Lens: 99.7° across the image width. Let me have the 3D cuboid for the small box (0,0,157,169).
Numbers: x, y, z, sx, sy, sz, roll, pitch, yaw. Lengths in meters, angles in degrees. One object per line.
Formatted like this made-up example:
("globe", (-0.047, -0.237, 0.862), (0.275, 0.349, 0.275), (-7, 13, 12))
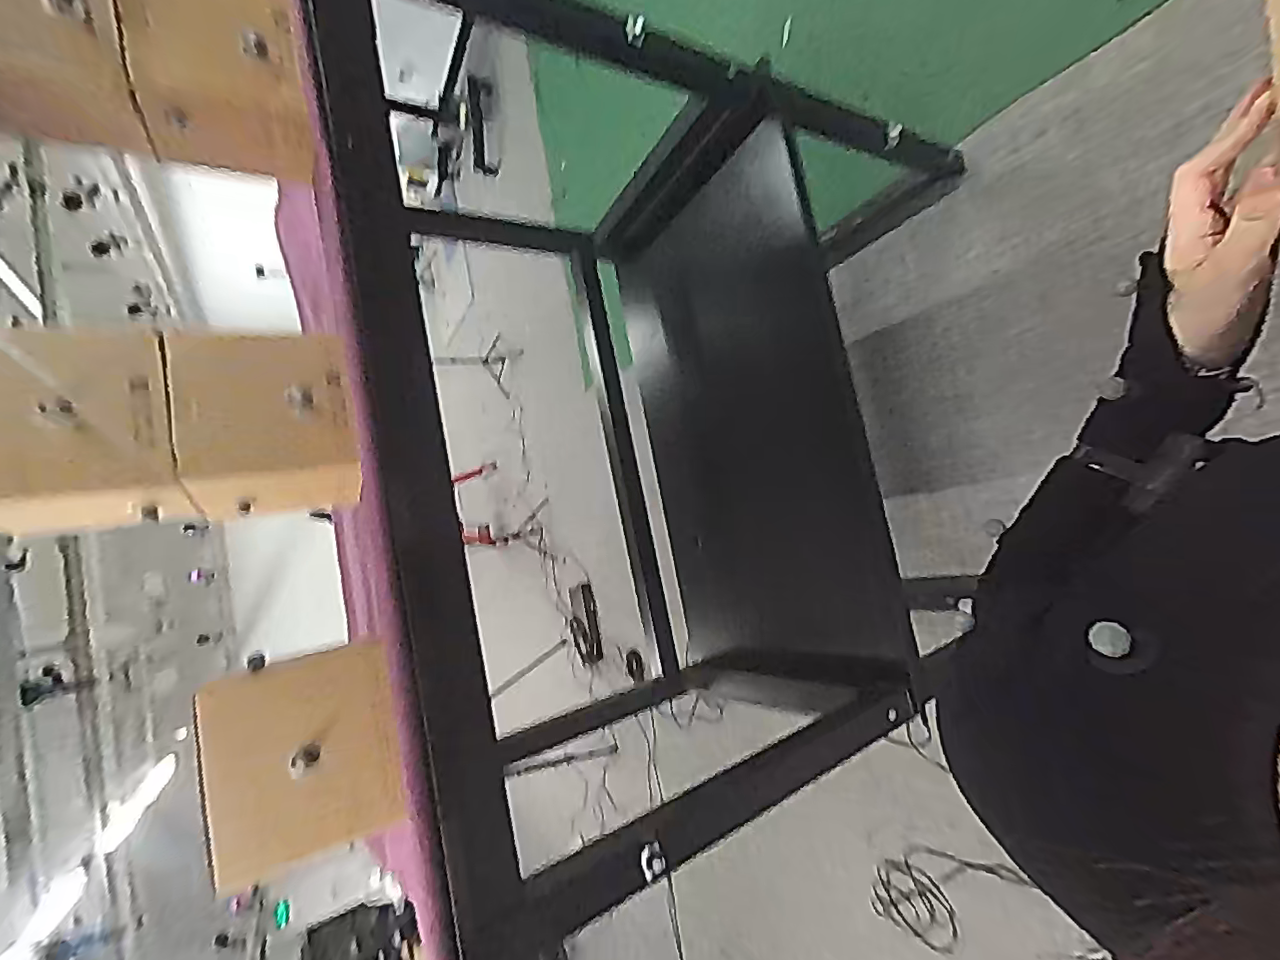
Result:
("small box", (-0.616, -0.442, 0.547), (0.179, 0.176, 0.168), (5, 103, 54))

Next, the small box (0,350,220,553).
("small box", (-0.565, -0.029, 0.564), (0.179, 0.176, 0.168), (-24, 78, 56))

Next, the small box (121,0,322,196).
("small box", (-0.487, -0.464, 0.643), (0.179, 0.176, 0.168), (-1, 97, 56))
